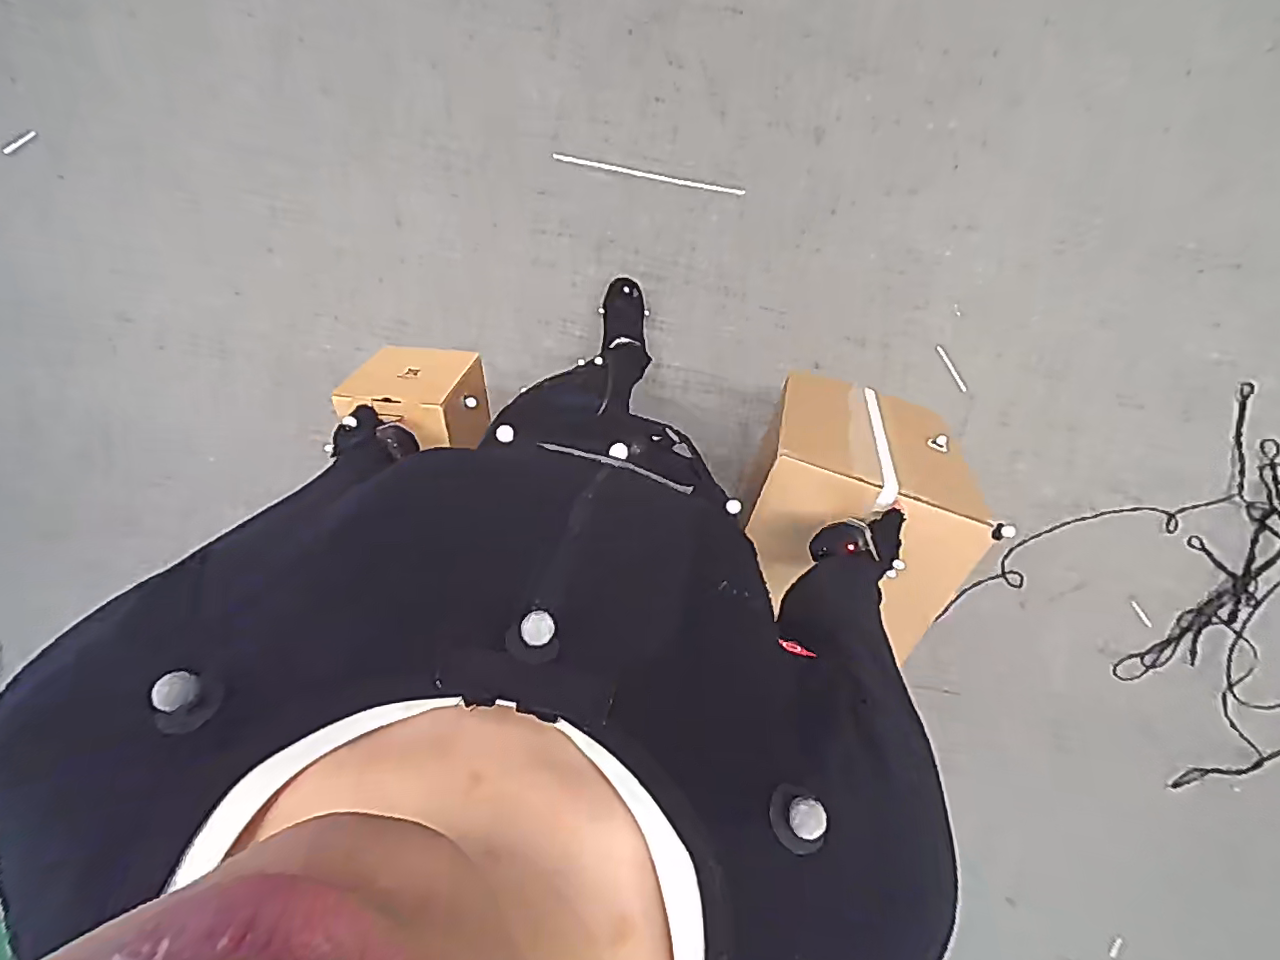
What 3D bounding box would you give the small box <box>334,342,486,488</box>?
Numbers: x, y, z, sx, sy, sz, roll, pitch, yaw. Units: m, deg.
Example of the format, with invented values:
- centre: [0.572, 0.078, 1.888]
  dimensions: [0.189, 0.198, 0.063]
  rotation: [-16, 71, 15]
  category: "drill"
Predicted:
- centre: [-0.363, -0.110, 0.896]
  dimensions: [0.168, 0.179, 0.176]
  rotation: [5, 128, 3]
  category: "small box"
